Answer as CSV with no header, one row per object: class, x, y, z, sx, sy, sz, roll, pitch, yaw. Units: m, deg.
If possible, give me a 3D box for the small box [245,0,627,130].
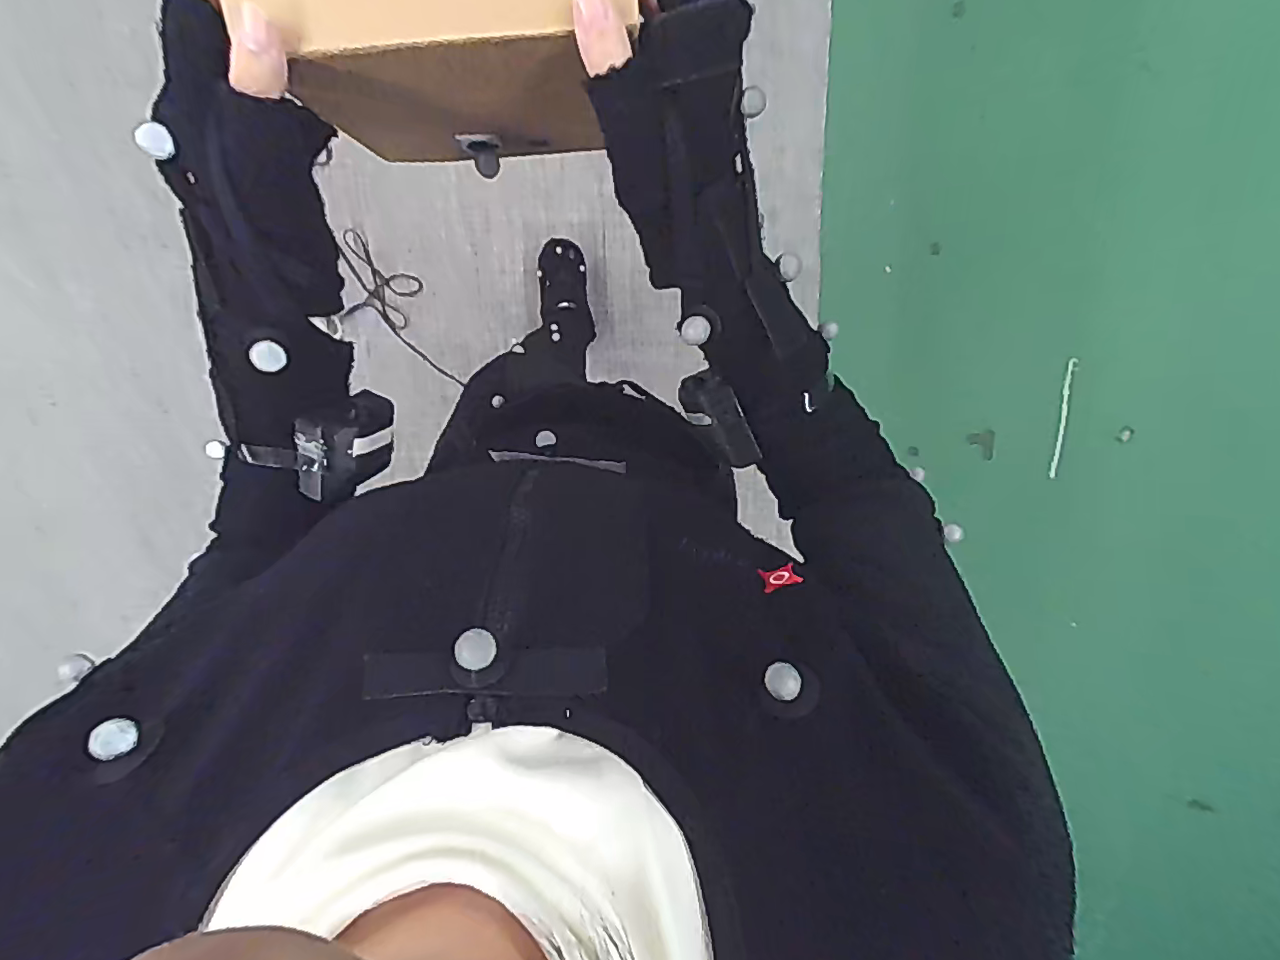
small box,-0.096,-0.294,0.254,0.168,0.176,0.179,-5,108,-1
